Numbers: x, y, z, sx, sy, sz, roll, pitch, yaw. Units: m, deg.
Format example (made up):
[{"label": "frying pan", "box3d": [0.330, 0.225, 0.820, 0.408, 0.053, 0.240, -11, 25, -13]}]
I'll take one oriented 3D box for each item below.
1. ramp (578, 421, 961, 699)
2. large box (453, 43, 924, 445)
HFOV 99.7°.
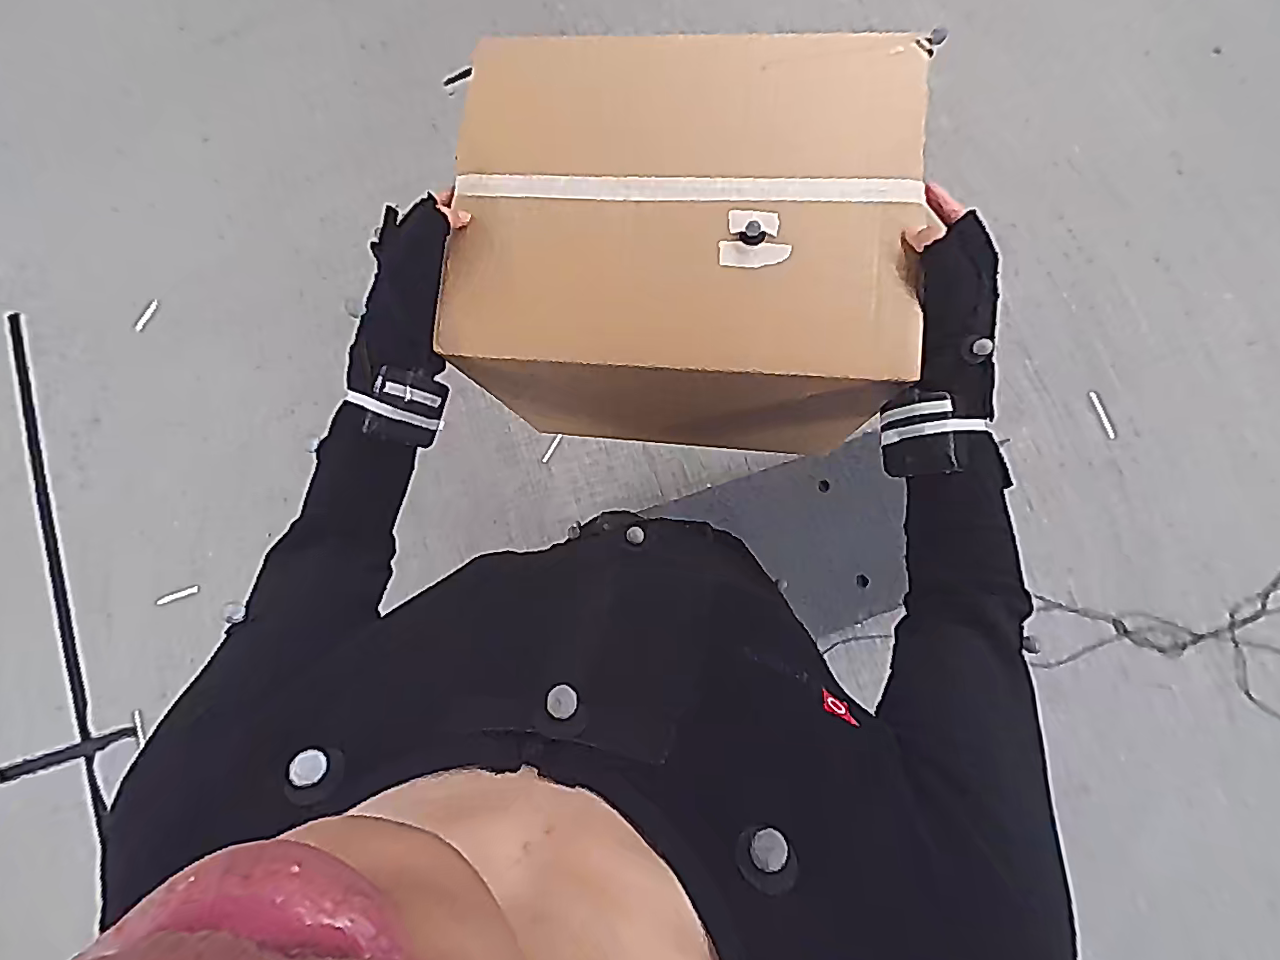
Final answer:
[{"label": "ramp", "box3d": [0.370, 0.201, 1.526, 0.991, 0.206, 0.509, -22, 80, 3]}, {"label": "large box", "box3d": [0.055, -0.234, 0.628, 0.408, 0.320, 0.320, 6, 83, 6]}]
